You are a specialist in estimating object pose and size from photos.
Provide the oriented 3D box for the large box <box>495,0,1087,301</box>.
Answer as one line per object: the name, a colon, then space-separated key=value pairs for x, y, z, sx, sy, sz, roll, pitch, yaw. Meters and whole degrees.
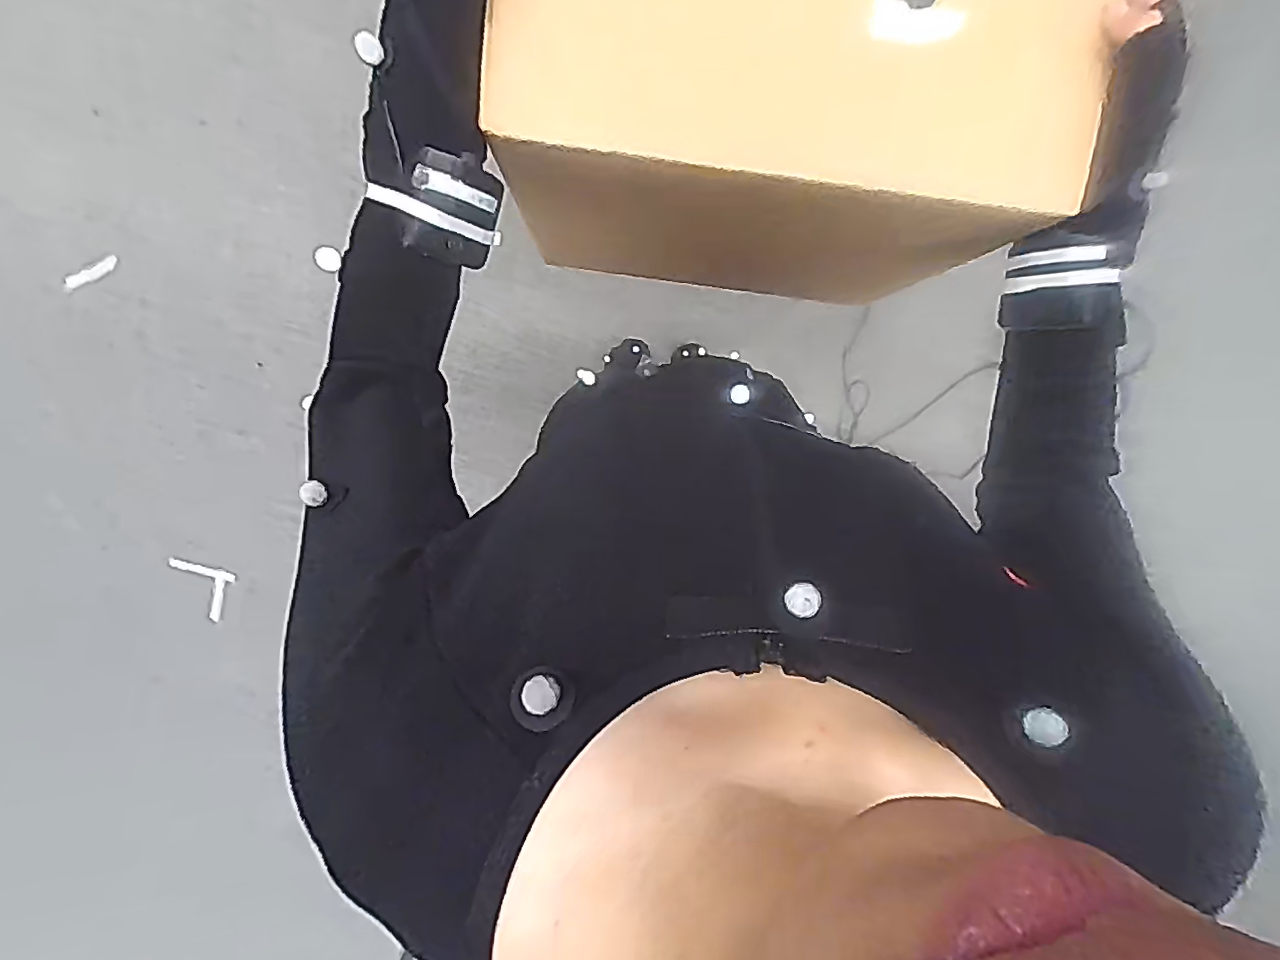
large box: x=0.101 y=-0.375 z=0.507 sx=0.408 sy=0.320 sz=0.320 roll=5 pitch=96 yaw=-4
